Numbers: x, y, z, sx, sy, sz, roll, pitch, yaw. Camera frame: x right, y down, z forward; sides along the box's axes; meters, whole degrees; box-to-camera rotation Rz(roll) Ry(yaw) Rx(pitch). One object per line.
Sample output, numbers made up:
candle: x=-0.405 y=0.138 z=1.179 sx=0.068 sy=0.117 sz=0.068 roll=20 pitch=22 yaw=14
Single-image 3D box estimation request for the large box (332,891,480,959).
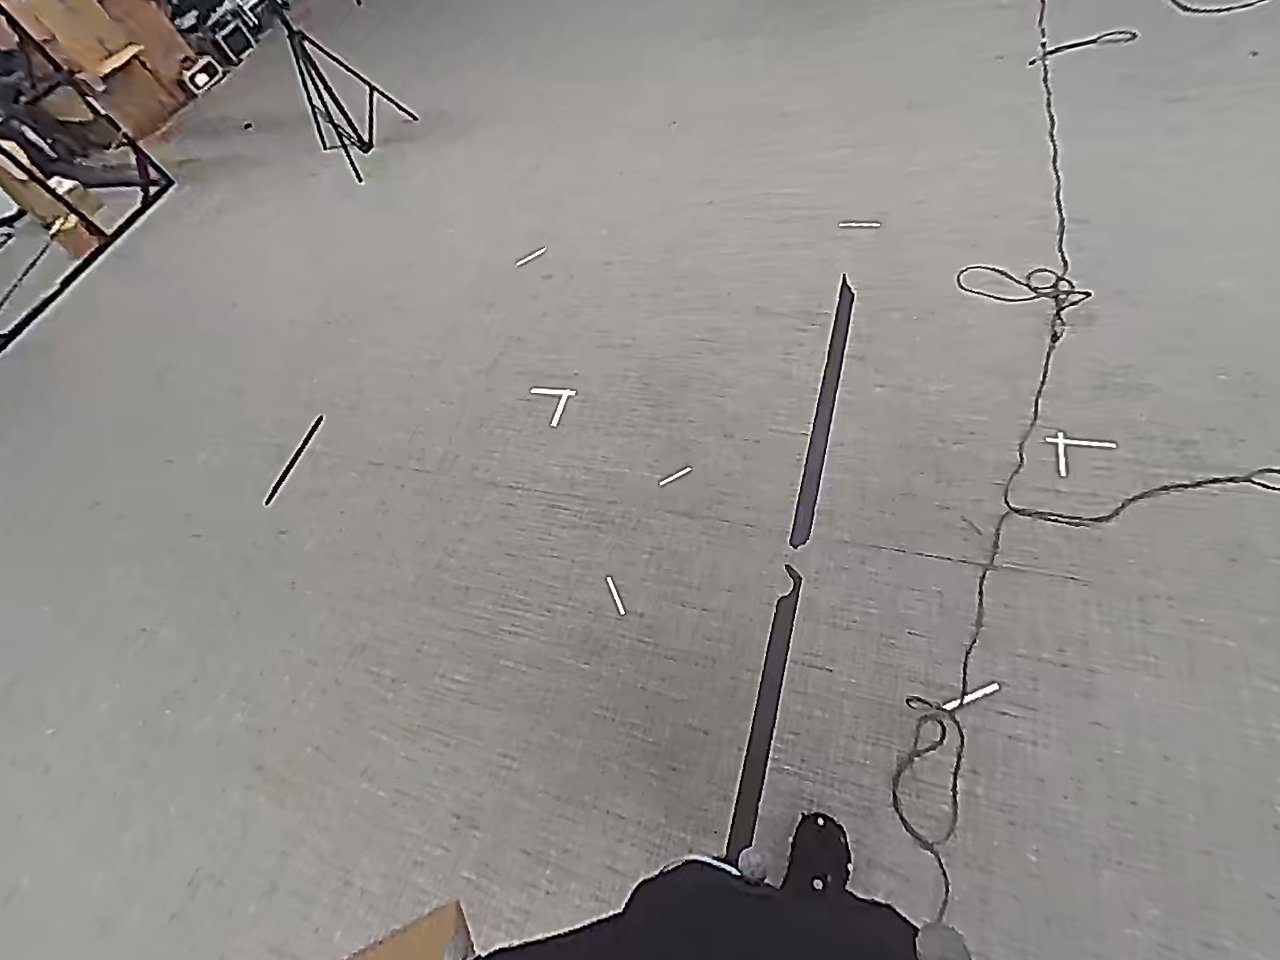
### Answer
large box: x=-0.212 y=0.603 z=0.356 sx=0.320 sy=0.320 sz=0.408 roll=-17 pitch=72 yaw=-25
